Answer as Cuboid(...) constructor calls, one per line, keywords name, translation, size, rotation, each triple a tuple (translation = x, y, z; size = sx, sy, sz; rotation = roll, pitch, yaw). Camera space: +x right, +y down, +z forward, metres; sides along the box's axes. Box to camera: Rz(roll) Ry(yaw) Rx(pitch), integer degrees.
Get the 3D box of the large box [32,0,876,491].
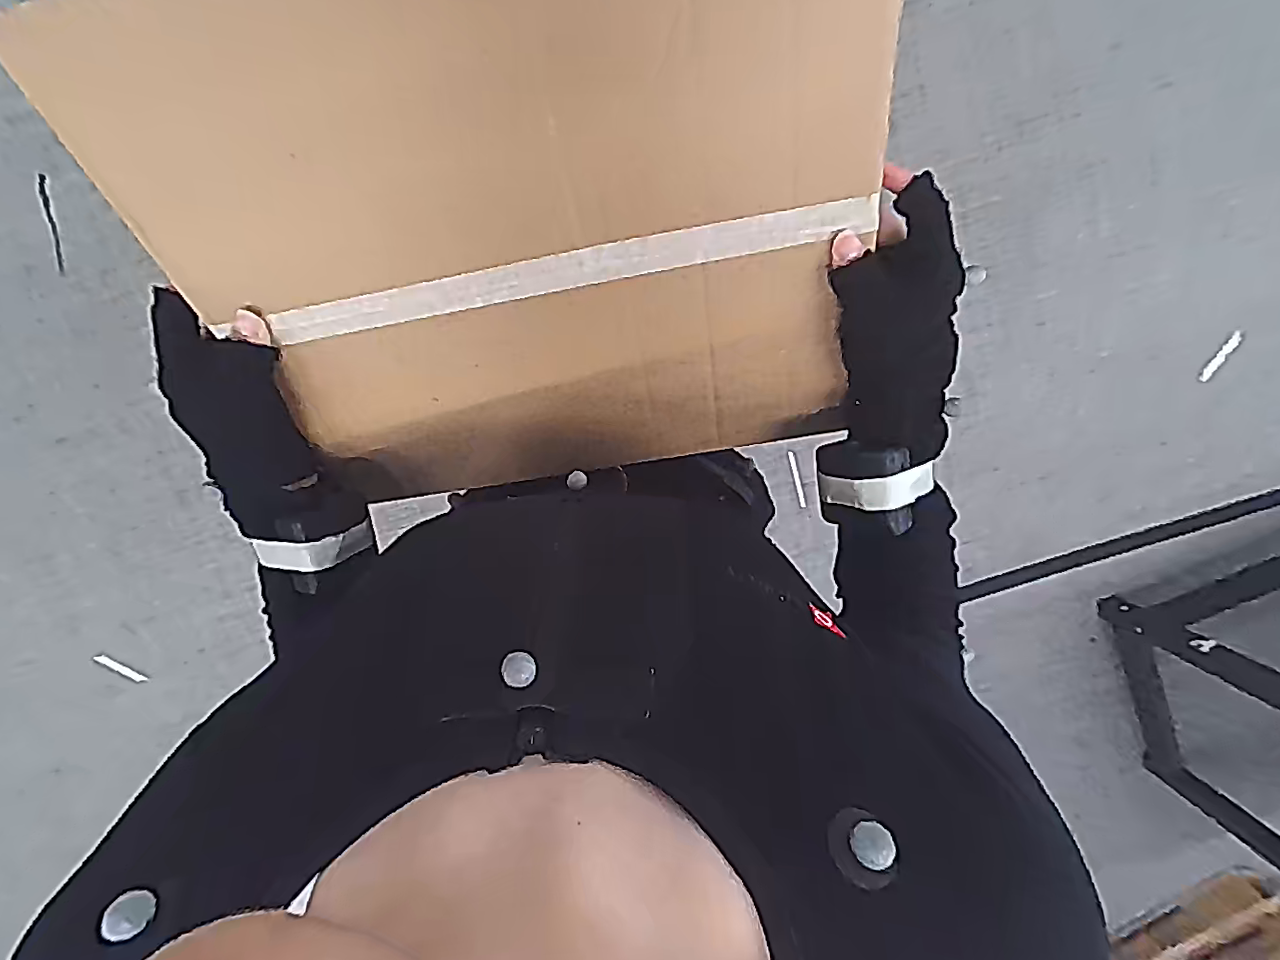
Cuboid(name="large box", translation=(-0.073, -0.231, 0.440), size=(0.408, 0.320, 0.320), rotation=(-9, 134, 6))
